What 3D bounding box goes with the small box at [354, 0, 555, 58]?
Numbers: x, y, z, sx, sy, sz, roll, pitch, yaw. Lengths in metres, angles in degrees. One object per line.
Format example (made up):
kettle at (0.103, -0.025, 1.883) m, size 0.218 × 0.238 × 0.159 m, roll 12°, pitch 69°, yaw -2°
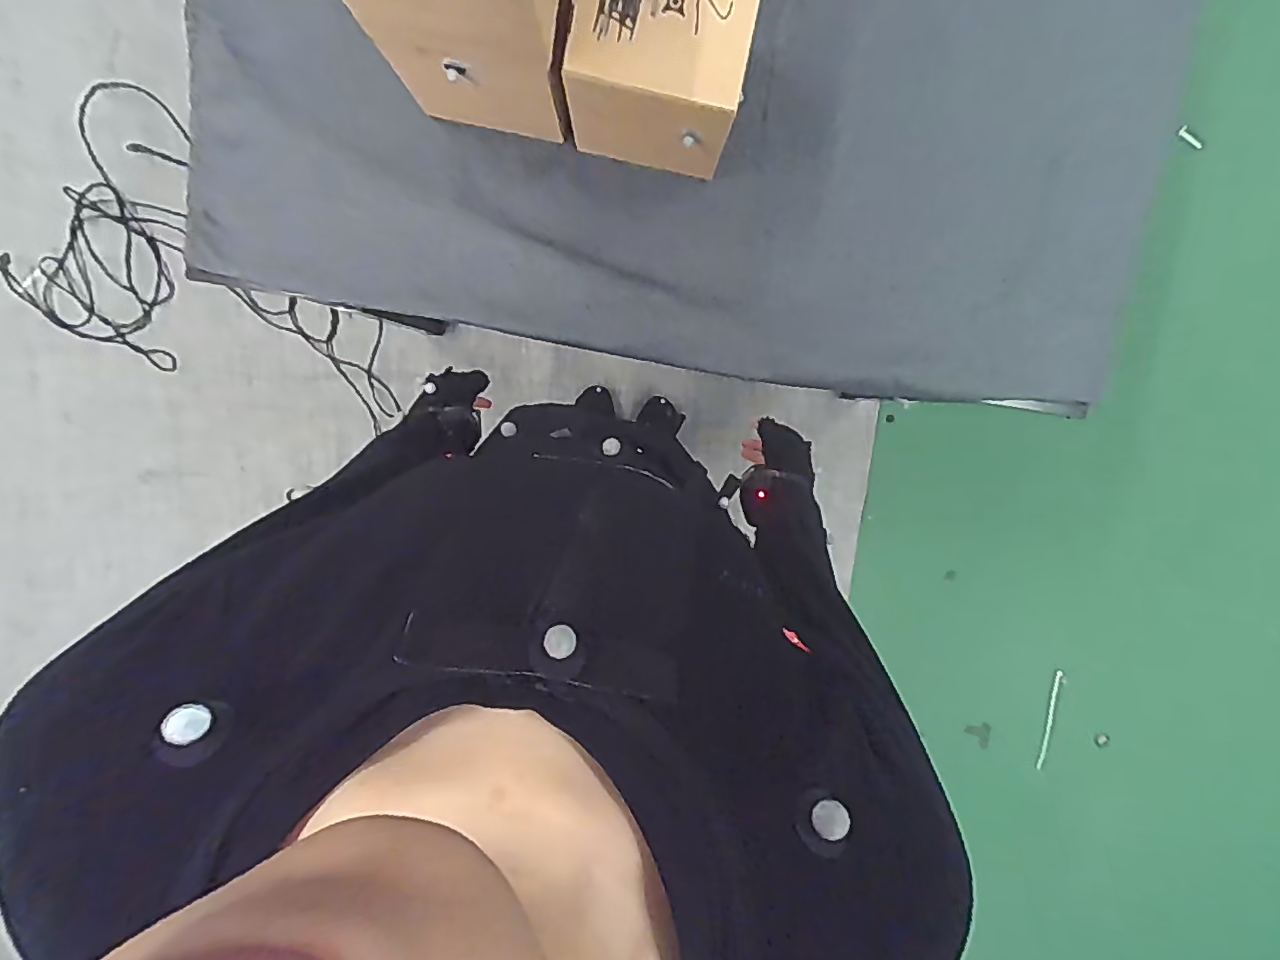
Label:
small box at (-0.153, -0.477, 0.423) m, size 0.179 × 0.176 × 0.168 m, roll 8°, pitch 98°, yaw -4°
